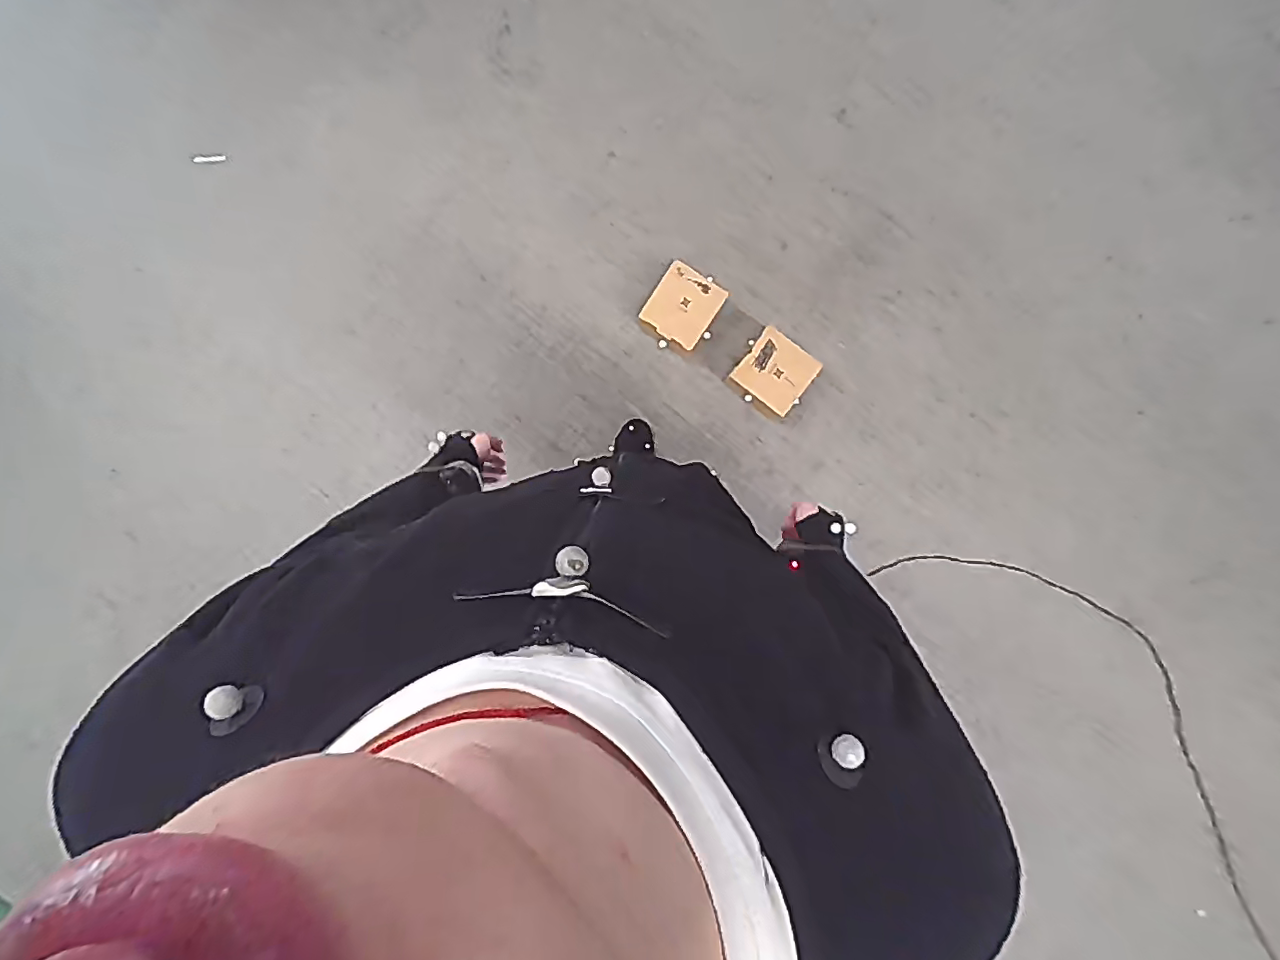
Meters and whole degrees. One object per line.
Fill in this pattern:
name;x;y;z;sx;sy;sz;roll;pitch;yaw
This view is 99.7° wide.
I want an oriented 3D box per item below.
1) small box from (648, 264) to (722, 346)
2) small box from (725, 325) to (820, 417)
small box;0.122;-0.464;1.450;0.179;0.176;0.168;5;91;5
small box;0.345;-0.282;1.449;0.179;0.176;0.168;43;97;2
